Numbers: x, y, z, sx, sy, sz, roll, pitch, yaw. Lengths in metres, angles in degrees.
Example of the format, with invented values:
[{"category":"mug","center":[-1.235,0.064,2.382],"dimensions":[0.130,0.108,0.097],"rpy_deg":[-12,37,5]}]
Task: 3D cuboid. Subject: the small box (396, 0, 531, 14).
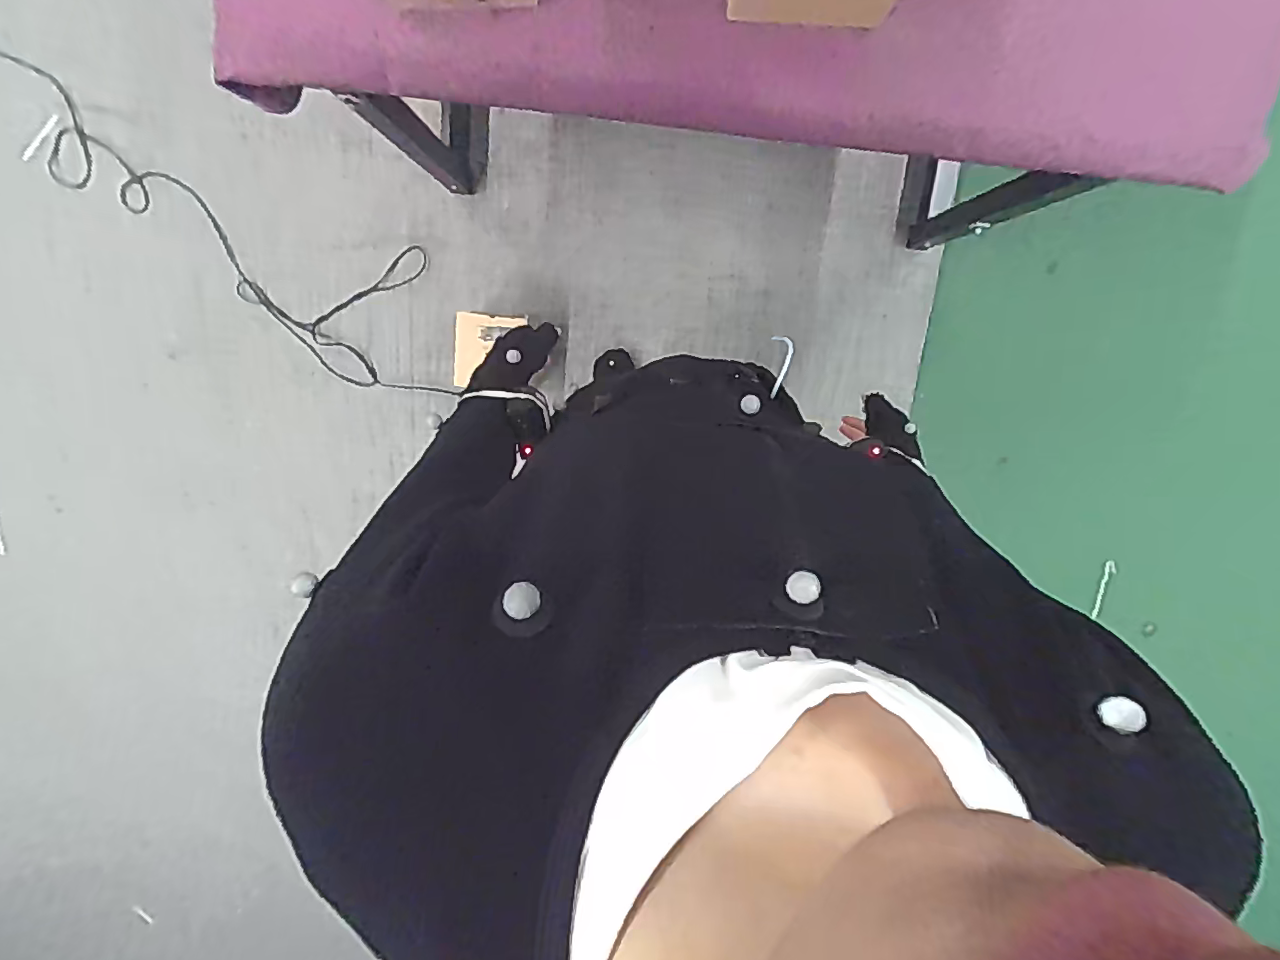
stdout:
[{"category":"small box","center":[-0.200,-0.600,0.516],"dimensions":[0.168,0.176,0.179],"rpy_deg":[0,102,-1]}]
